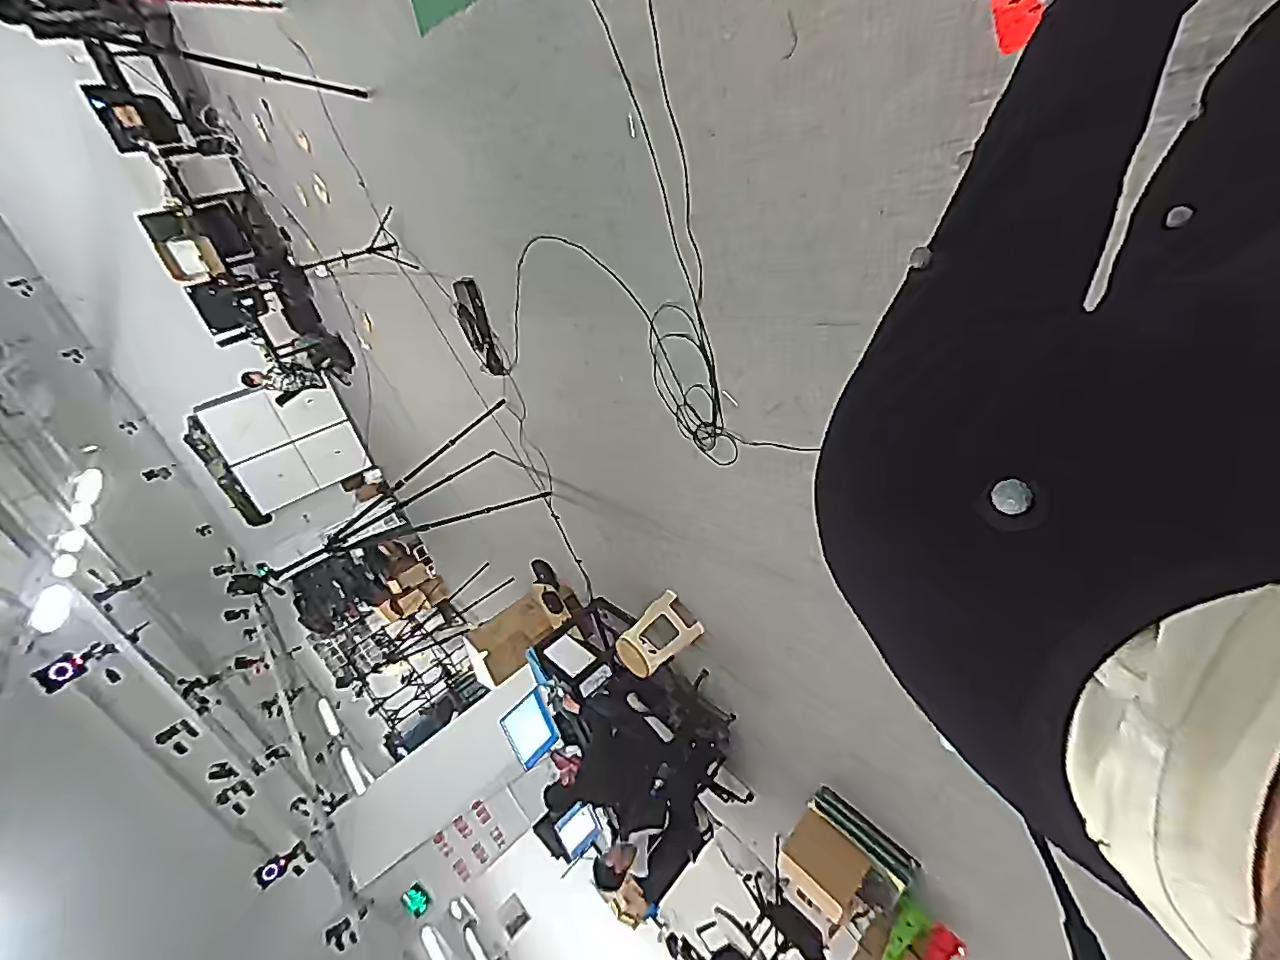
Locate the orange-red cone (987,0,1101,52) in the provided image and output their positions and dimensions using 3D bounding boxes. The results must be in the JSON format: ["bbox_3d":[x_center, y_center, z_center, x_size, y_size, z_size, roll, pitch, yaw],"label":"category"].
[{"bbox_3d":[0.683,-0.930,0.995,0.199,0.360,0.198,3,120,56],"label":"orange-red cone"}]
